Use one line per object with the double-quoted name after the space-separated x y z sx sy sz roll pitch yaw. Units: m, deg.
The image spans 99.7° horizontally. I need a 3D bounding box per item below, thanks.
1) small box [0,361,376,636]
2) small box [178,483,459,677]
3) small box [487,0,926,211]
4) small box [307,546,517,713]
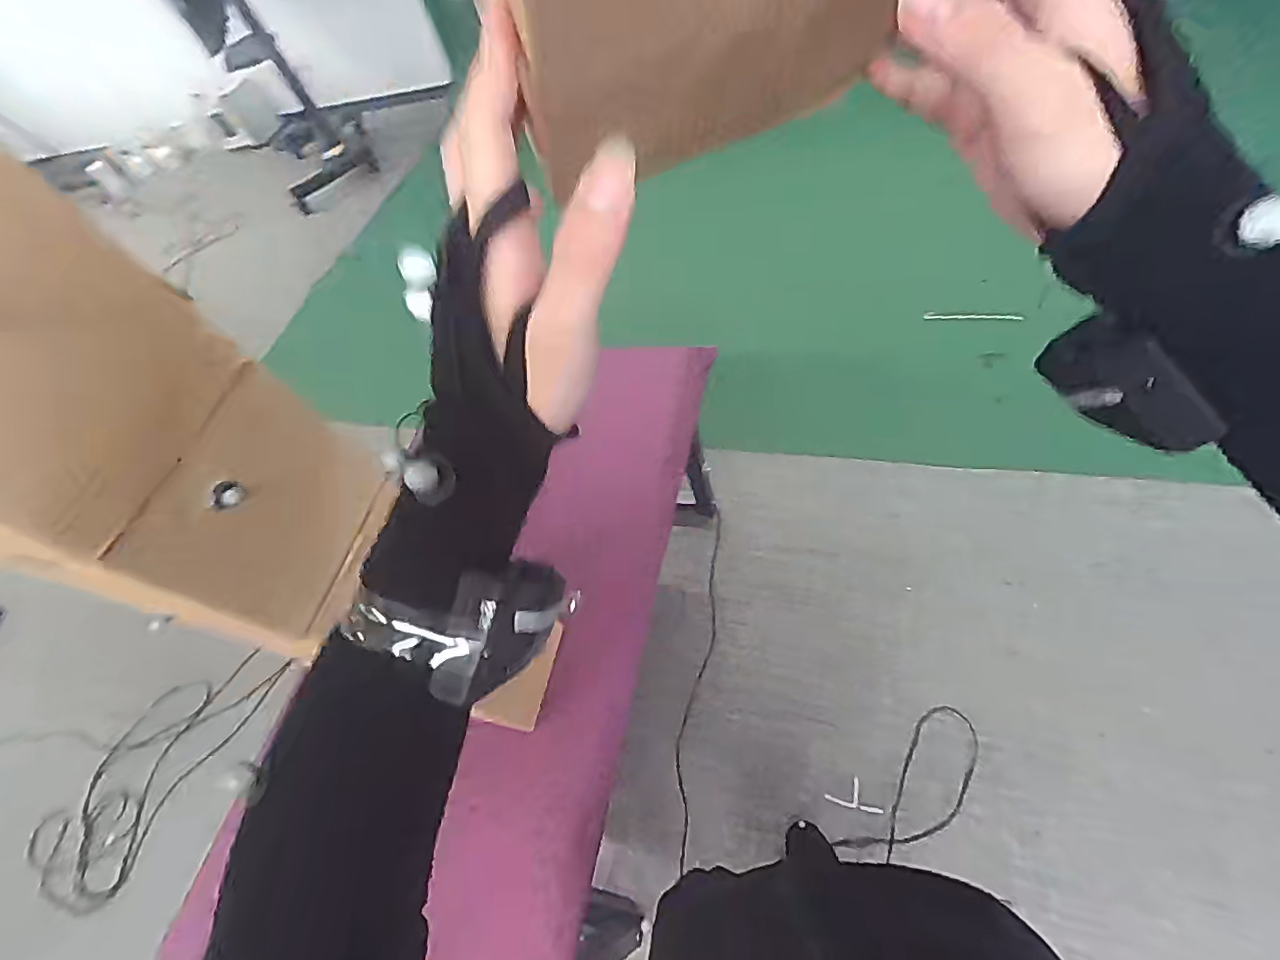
-0.370 0.020 0.467 0.168 0.176 0.179 3 58 19 "small box"
-0.334 0.109 0.600 0.179 0.176 0.168 3 58 18 "small box"
0.018 -0.250 0.228 0.179 0.176 0.168 -21 93 -2 "small box"
-0.288 0.196 0.731 0.168 0.176 0.179 4 60 19 "small box"
